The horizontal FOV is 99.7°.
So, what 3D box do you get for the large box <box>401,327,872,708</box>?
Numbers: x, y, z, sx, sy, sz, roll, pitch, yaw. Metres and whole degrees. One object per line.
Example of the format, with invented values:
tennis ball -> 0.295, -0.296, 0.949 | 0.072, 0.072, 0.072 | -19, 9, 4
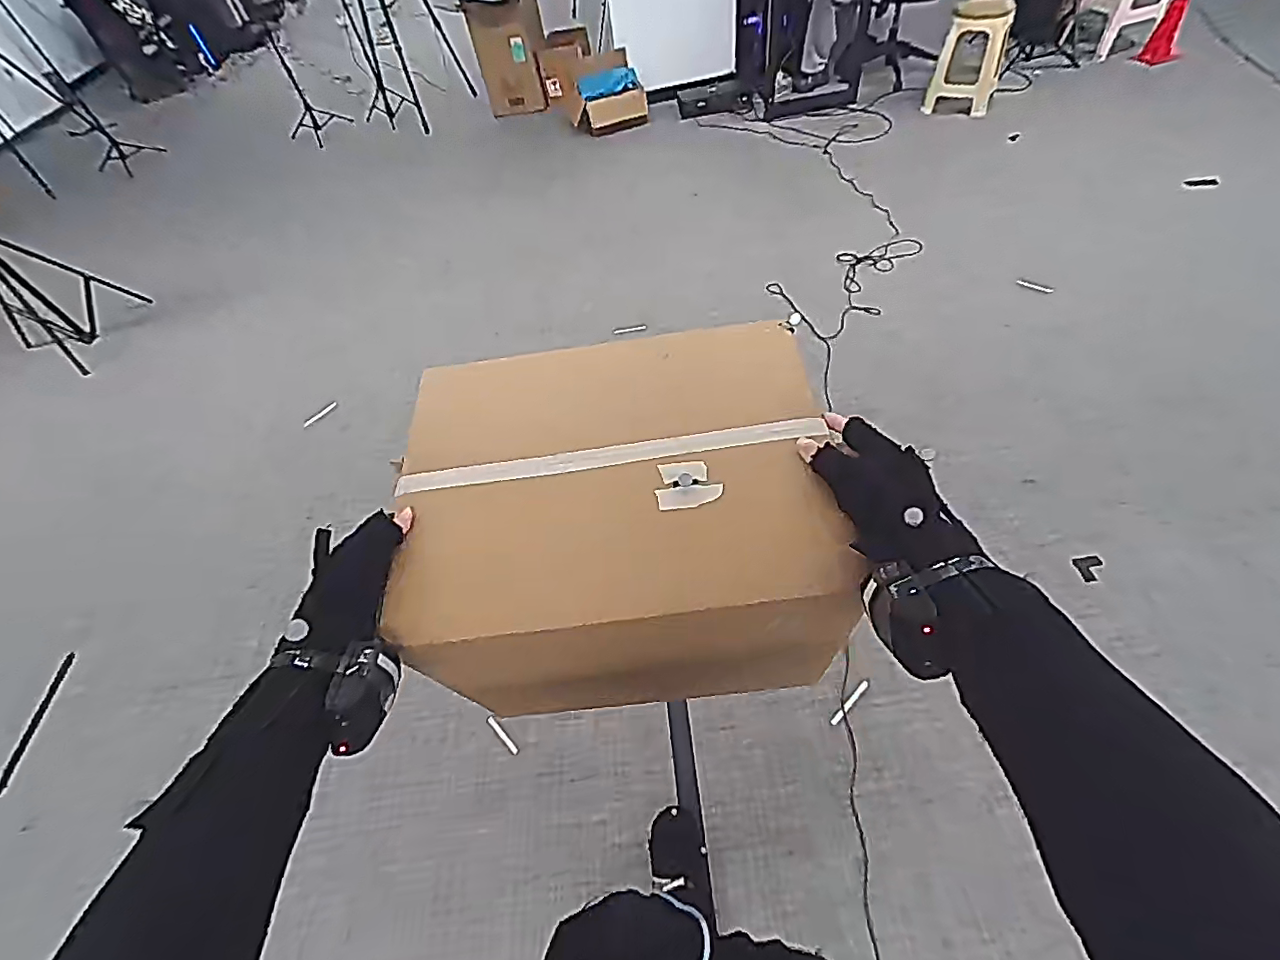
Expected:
large box -> -0.006, 0.061, 0.650 | 0.408, 0.320, 0.320 | -7, 57, 2
